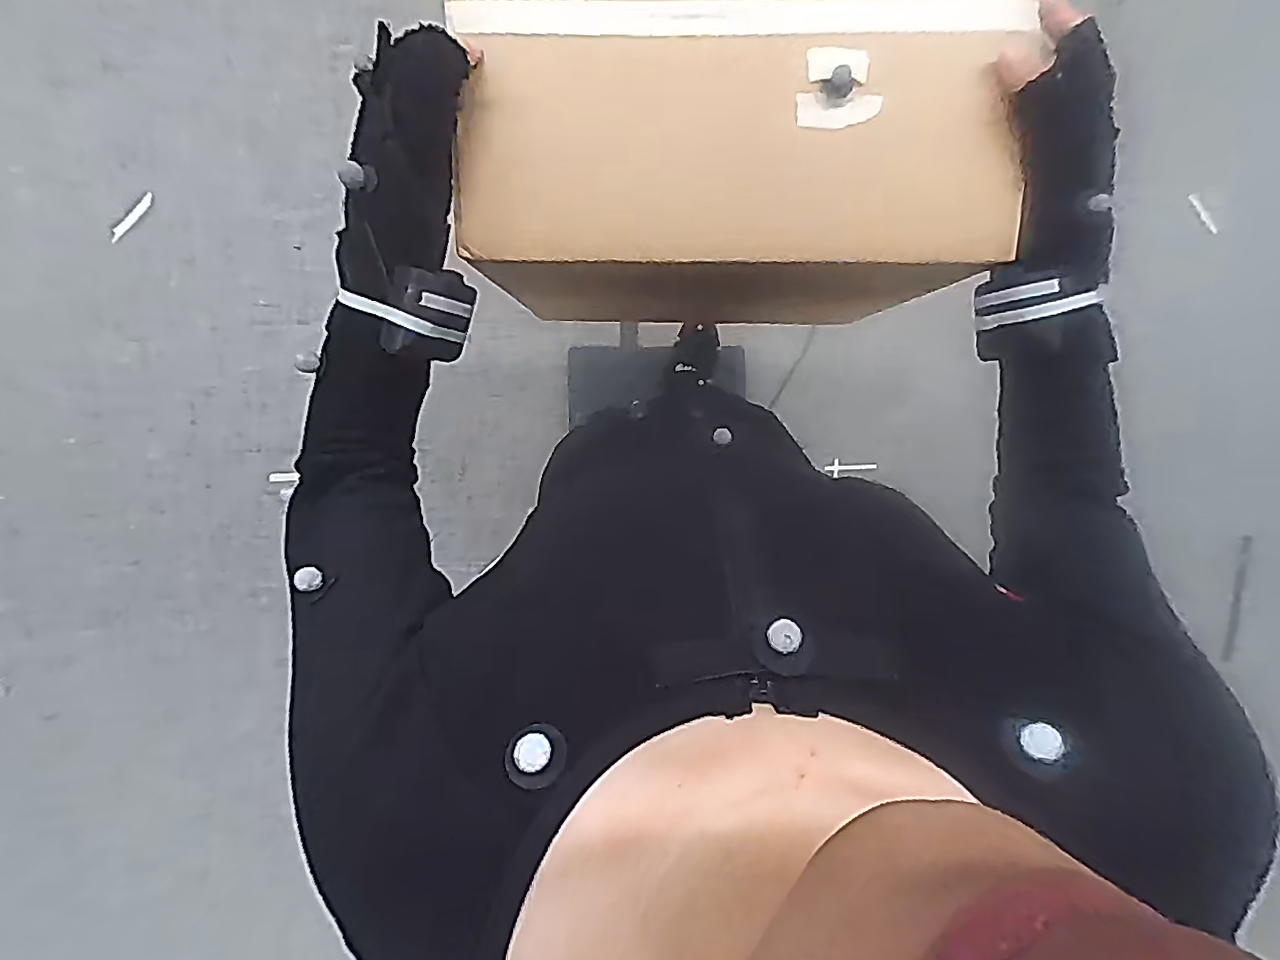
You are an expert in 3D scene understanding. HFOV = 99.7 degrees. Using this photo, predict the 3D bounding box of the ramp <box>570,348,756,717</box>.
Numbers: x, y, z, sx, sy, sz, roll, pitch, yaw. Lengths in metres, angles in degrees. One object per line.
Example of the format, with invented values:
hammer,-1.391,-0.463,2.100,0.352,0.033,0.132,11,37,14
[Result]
ramp,0.057,0.132,1.480,0.509,0.206,0.991,-2,96,0

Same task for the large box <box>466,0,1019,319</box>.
large box,0.070,-0.345,0.535,0.408,0.320,0.320,0,98,0
